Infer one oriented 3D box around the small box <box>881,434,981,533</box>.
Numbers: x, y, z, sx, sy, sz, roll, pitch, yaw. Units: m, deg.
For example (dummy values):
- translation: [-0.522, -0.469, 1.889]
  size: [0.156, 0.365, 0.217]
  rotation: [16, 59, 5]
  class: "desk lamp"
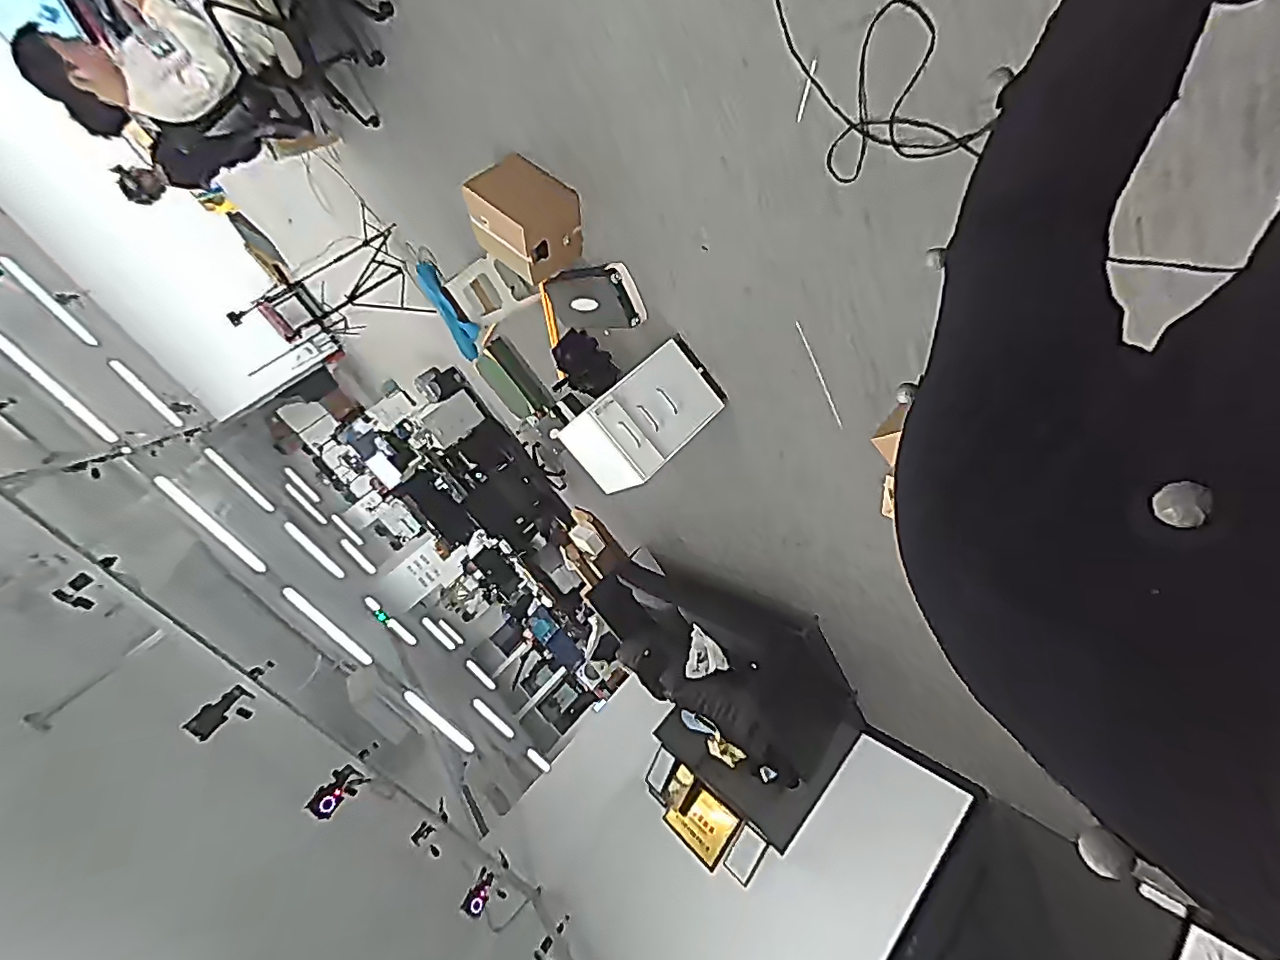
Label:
- translation: [0.769, 0.003, 1.433]
  size: [0.179, 0.176, 0.168]
  rotation: [27, 152, 36]
  class: "small box"
